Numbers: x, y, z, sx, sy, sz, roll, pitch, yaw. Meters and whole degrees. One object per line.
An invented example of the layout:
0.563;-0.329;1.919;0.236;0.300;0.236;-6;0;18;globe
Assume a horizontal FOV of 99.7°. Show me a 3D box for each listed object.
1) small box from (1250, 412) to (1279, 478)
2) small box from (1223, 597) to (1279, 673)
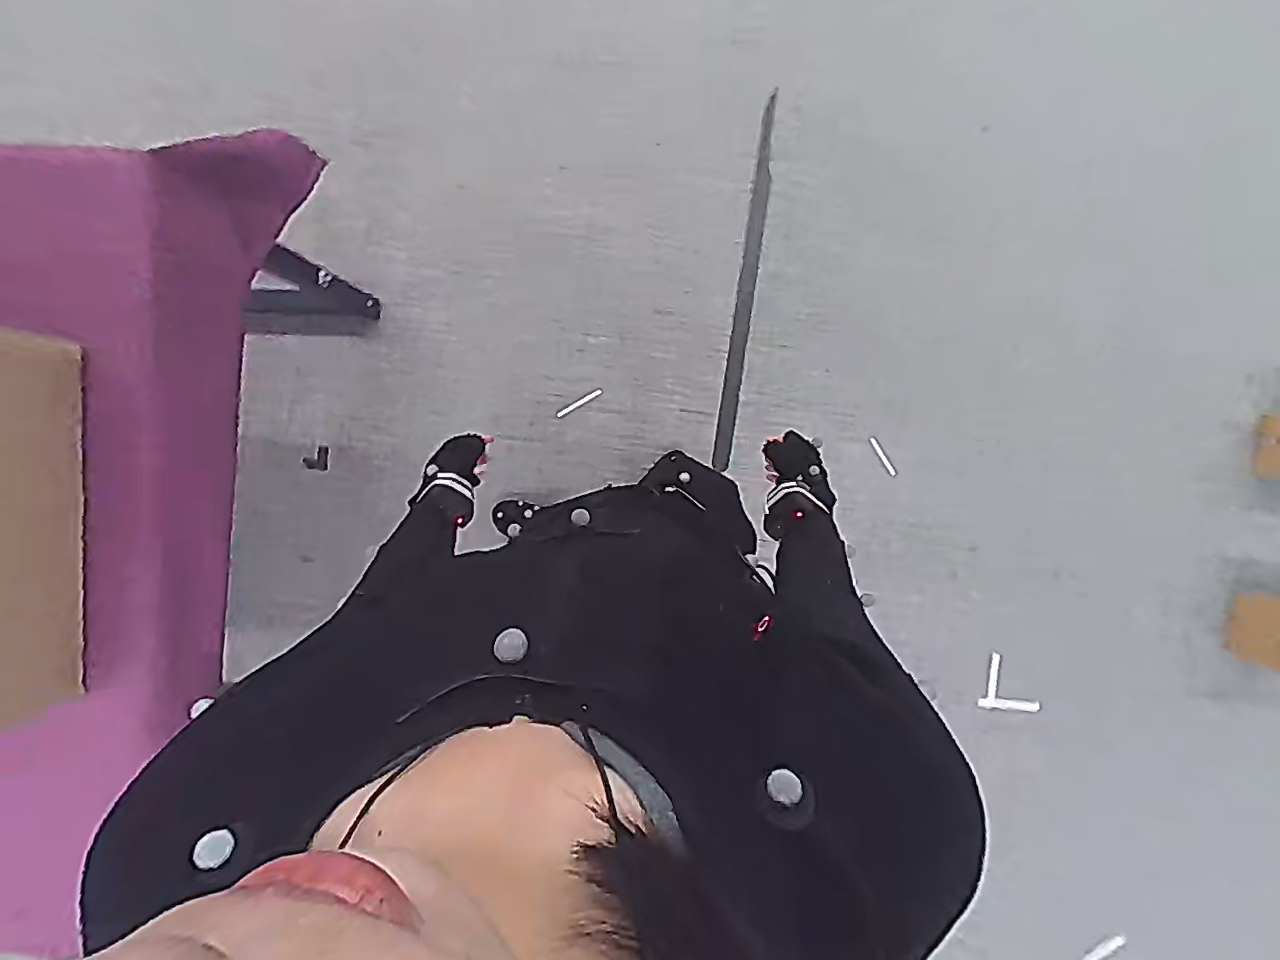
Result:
1.790;-0.087;1.428;0.168;0.176;0.179;6;93;0;small box
1.738;0.422;1.450;0.168;0.176;0.179;6;94;2;small box
